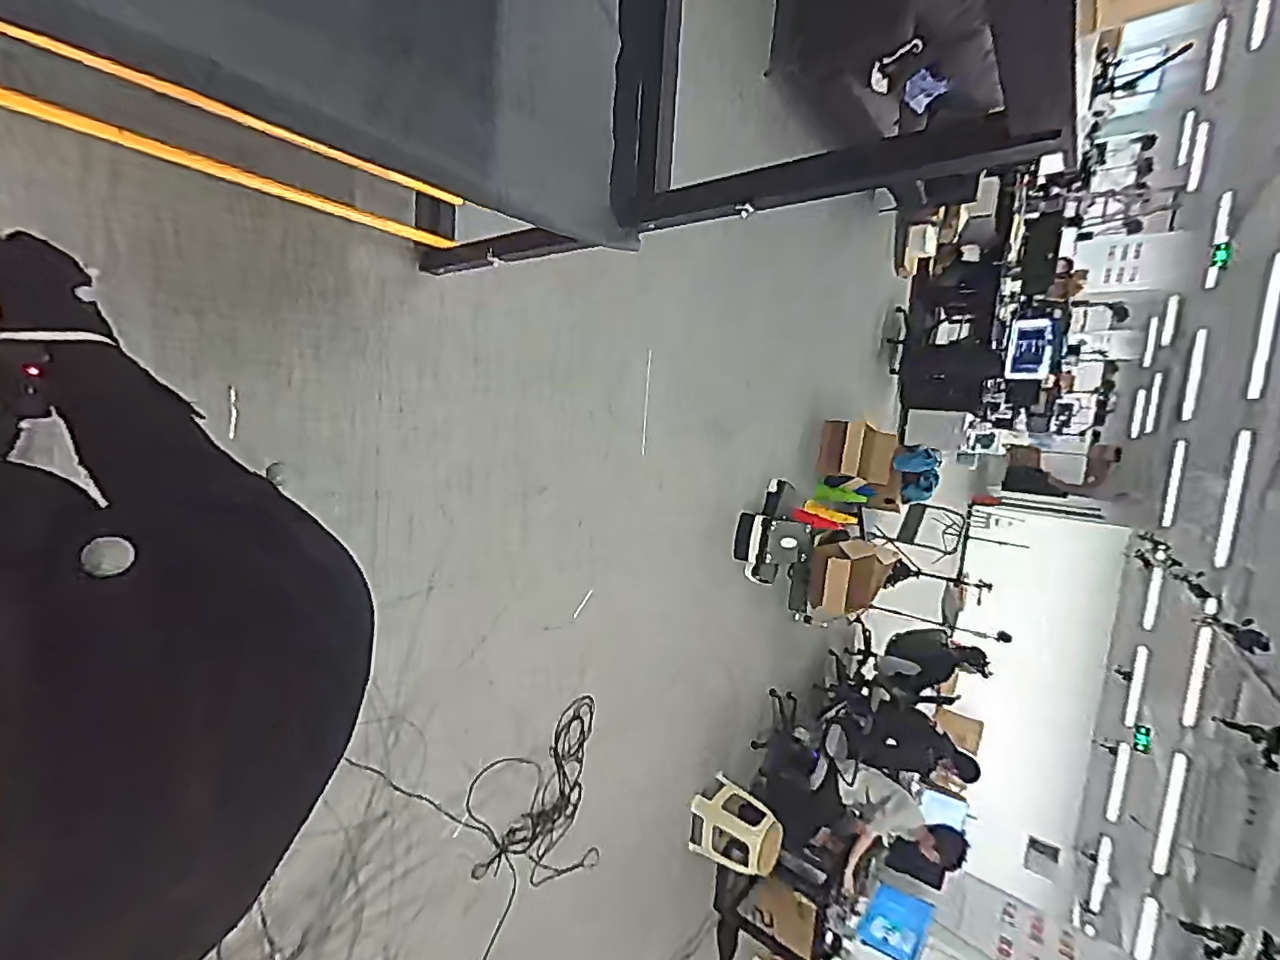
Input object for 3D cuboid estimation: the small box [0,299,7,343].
[{"bbox_3d":[-0.697,-0.228,0.467,0.168,0.176,0.179,-13,89,-44],"label":"small box"}]
